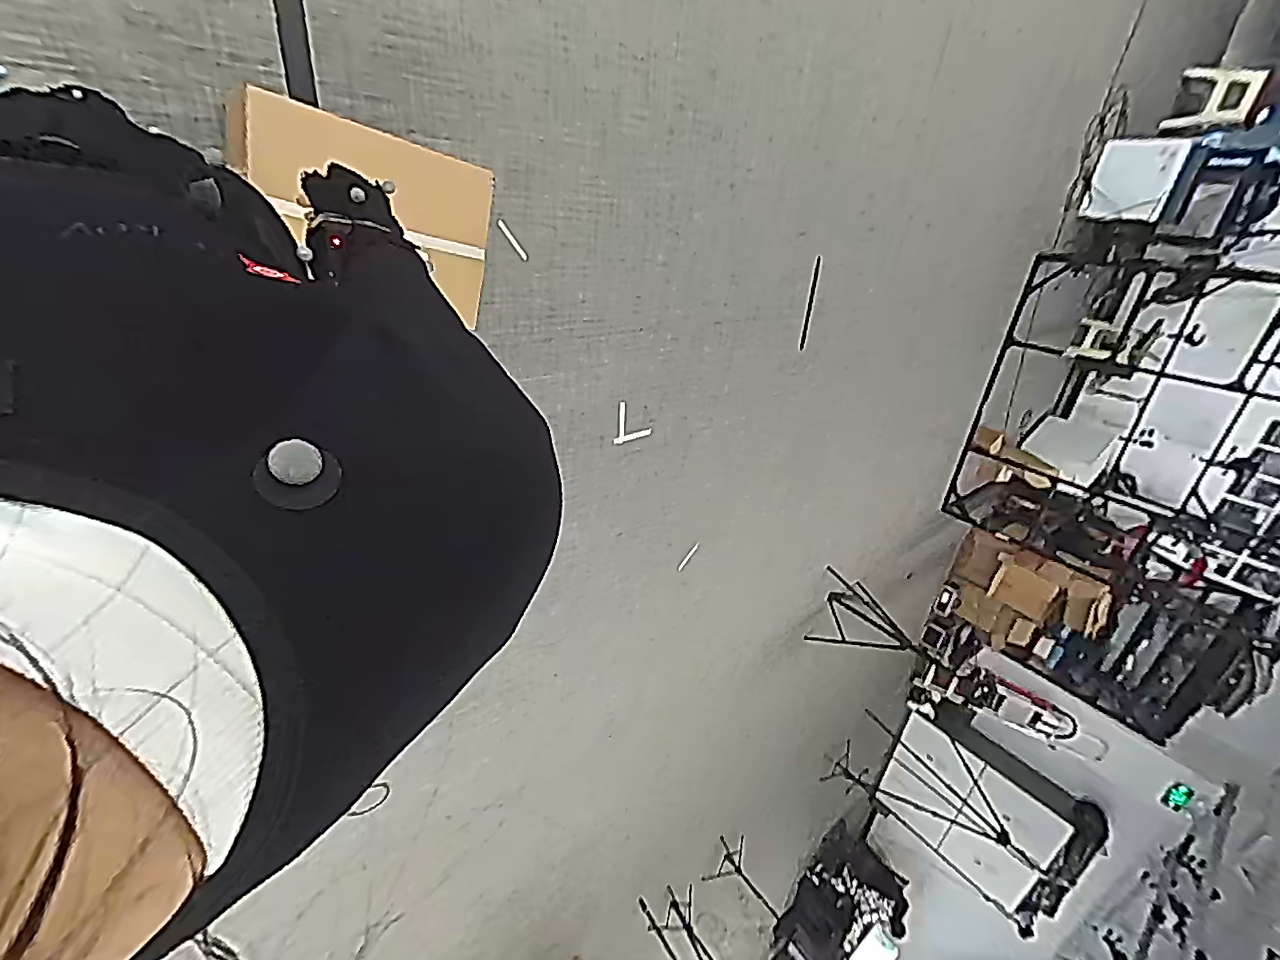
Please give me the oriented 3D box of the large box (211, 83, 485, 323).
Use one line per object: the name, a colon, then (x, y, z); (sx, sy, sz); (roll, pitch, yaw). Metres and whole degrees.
large box: (-0.577, -0.518, 1.073); (0.408, 0.320, 0.320); (-4, 117, -43)
